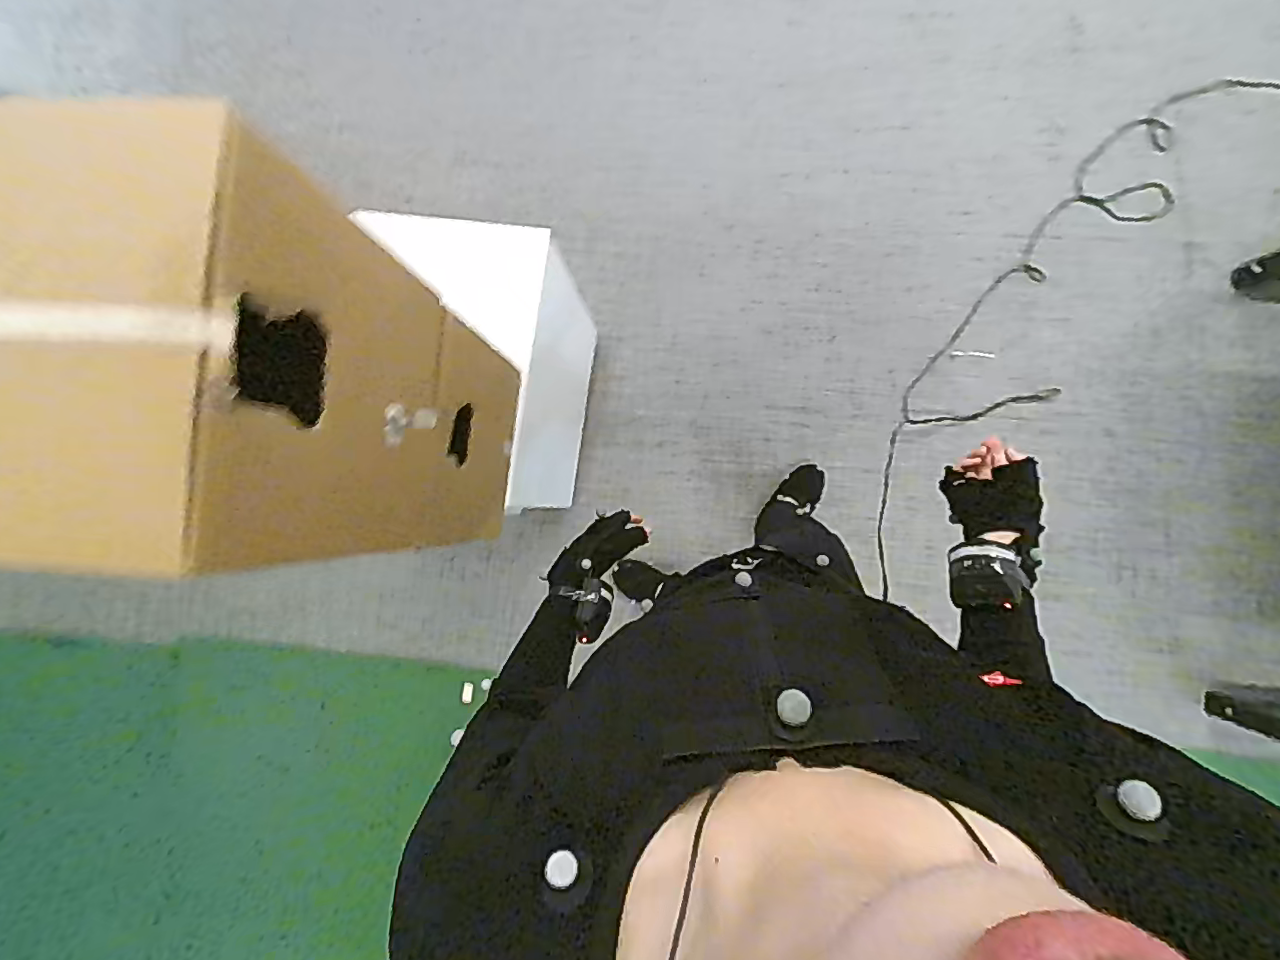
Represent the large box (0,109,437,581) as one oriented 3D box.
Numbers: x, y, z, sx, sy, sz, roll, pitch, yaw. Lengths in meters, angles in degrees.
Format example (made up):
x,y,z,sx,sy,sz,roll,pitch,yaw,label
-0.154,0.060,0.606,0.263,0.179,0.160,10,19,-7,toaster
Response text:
x,y,z,sx,sy,sz,roll,pitch,yaw,label
-0.454,-0.090,0.513,0.408,0.320,0.320,3,86,6,large box
